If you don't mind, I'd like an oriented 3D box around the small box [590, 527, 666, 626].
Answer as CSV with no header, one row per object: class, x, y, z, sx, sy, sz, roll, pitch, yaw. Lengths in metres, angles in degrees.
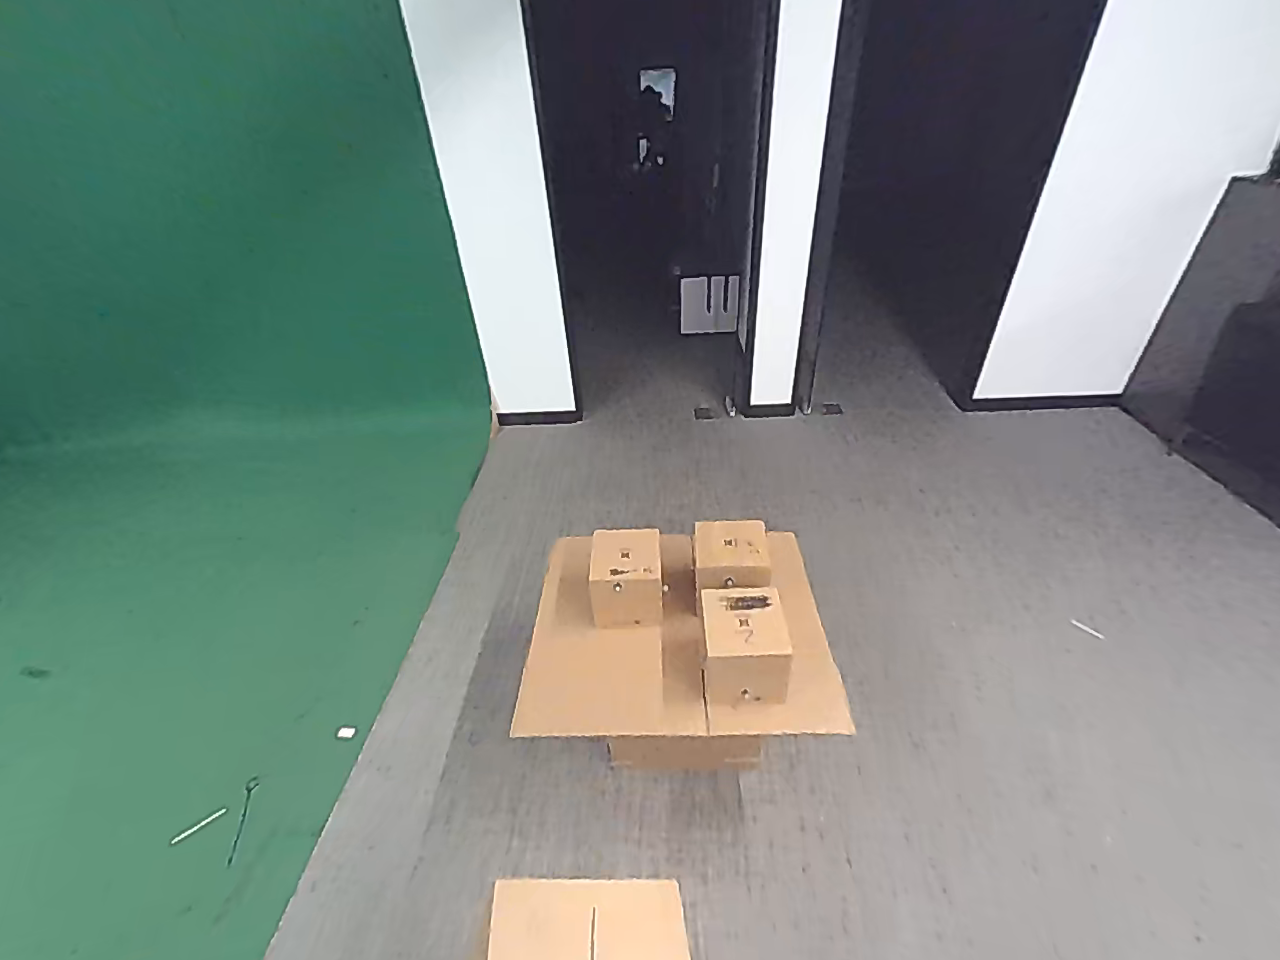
small box,-0.025,0.235,1.326,0.168,0.176,0.179,-4,34,3
